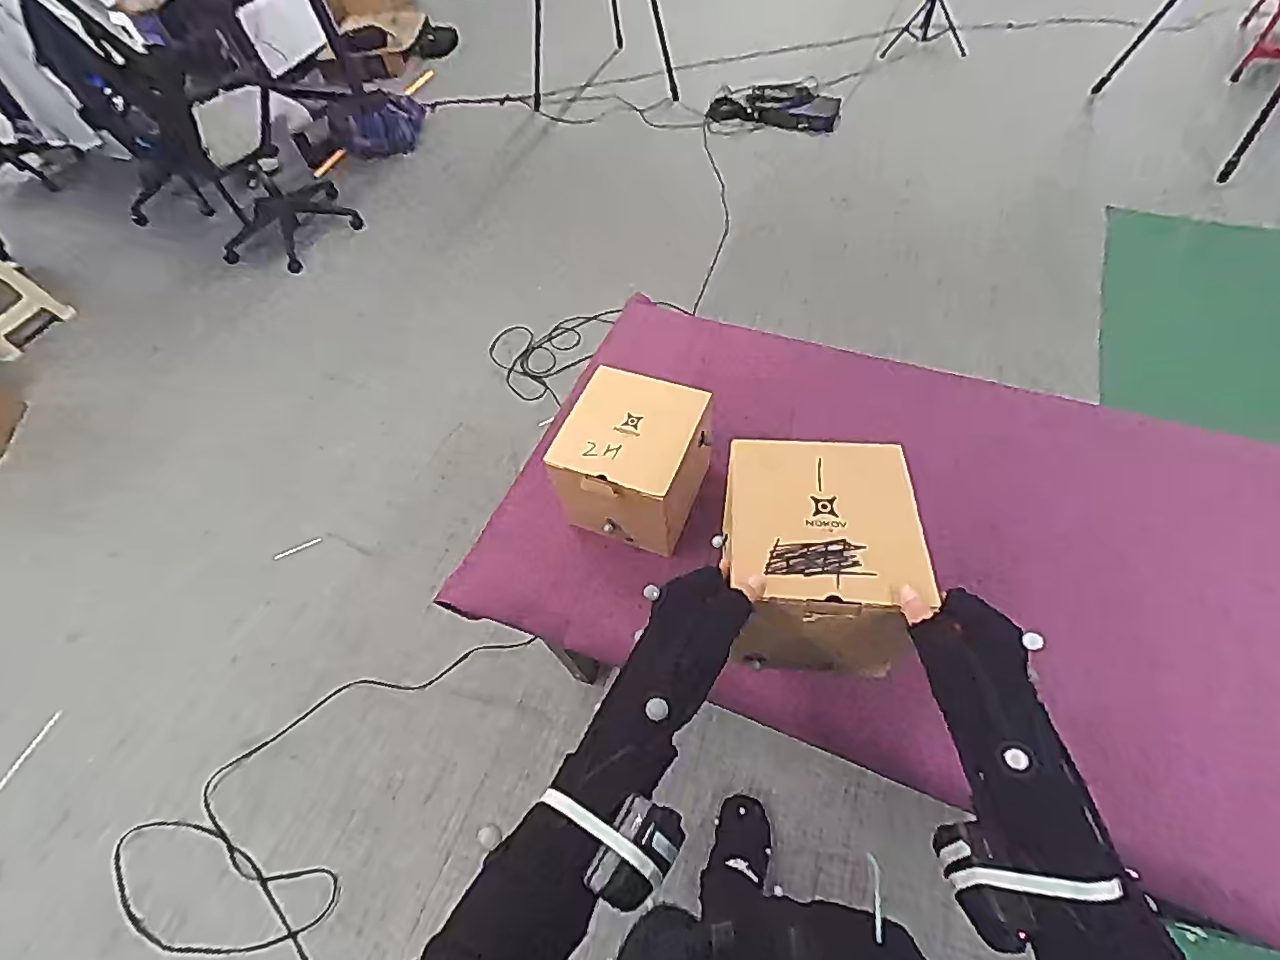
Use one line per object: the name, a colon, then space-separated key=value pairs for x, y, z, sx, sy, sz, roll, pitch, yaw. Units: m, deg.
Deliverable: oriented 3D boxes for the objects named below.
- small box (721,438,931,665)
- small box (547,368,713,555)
small box: x=0.172 y=0.077 z=0.557 sx=0.168 sy=0.176 sz=0.179 roll=2 pitch=53 yaw=7
small box: x=-0.005 y=-0.023 z=0.764 sx=0.168 sy=0.176 sz=0.179 roll=17 pitch=61 yaw=17
